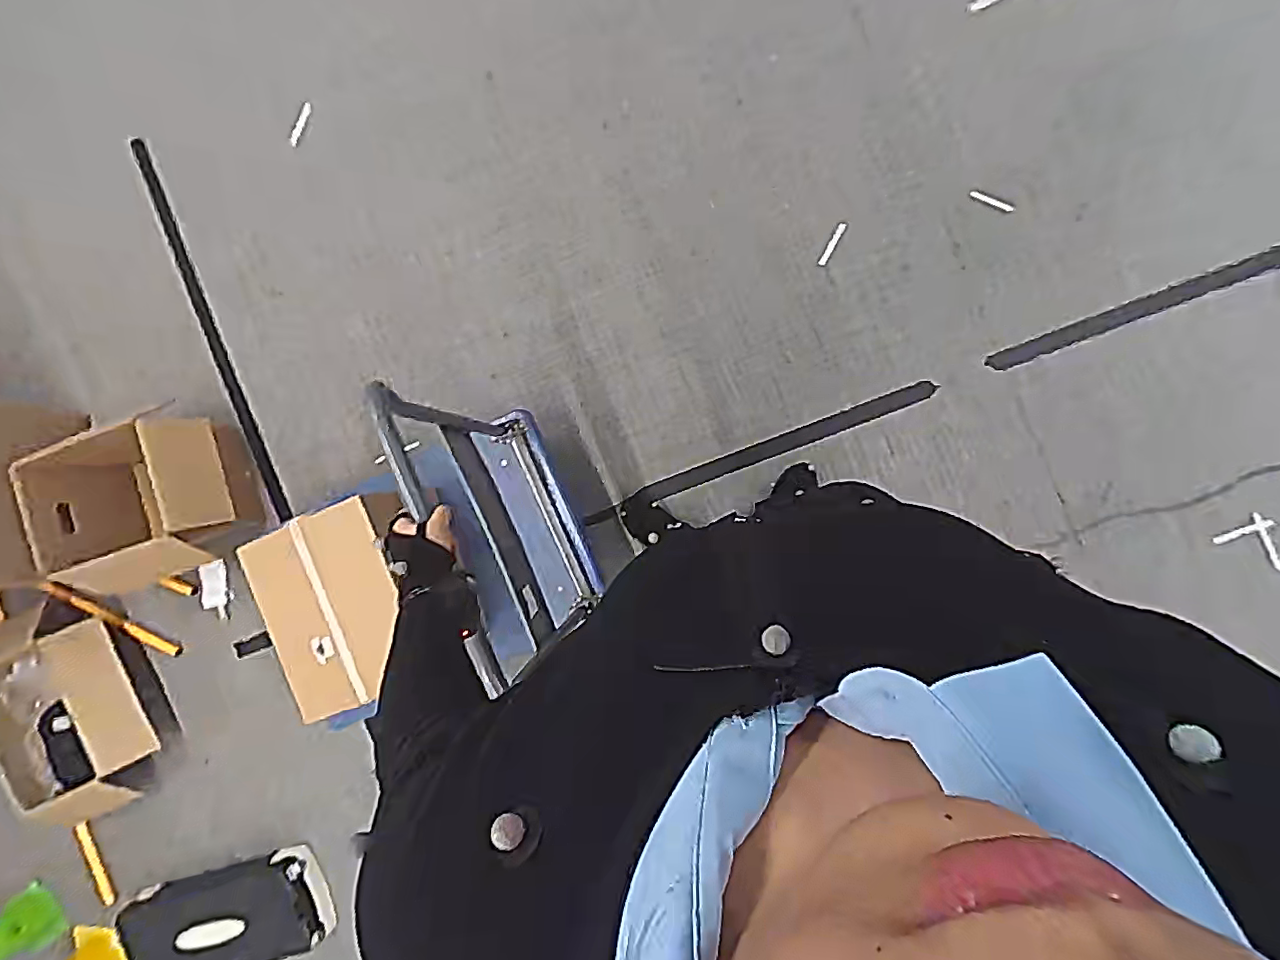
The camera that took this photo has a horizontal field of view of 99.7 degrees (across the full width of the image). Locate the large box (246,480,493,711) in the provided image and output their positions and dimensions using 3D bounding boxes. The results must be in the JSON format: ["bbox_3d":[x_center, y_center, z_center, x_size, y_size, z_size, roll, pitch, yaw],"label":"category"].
[{"bbox_3d":[-0.609,0.246,1.281,0.320,0.320,0.408,-23,90,8],"label":"large box"}]
